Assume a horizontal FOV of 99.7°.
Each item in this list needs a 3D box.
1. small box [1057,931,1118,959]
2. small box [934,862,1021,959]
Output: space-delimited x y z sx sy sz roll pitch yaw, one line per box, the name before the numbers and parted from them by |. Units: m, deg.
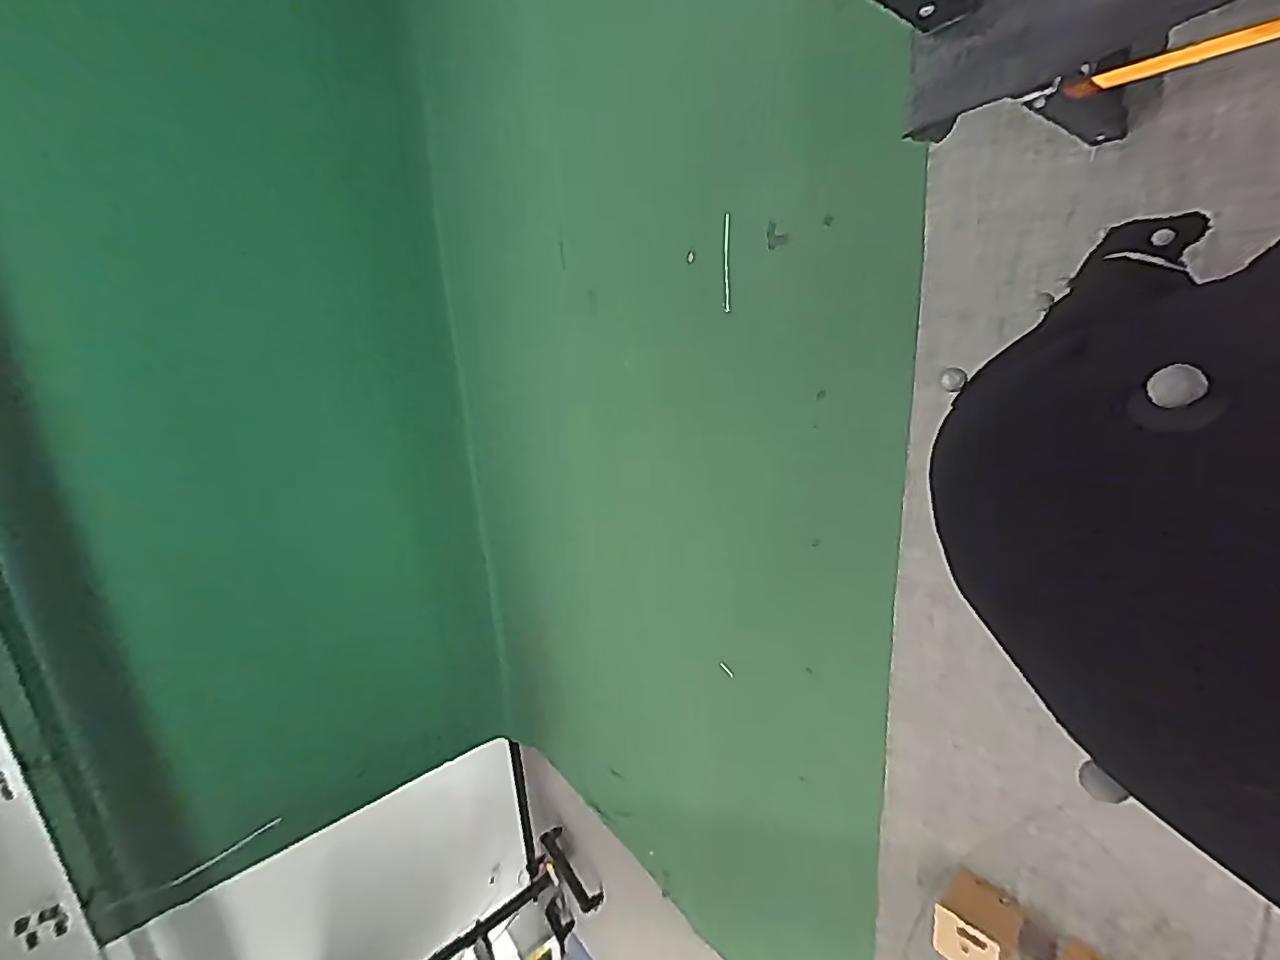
small box | 1.150 1.319 1.368 0.168 0.176 0.179 17 115 49
small box | 0.982 1.273 1.572 0.168 0.176 0.179 13 112 50
